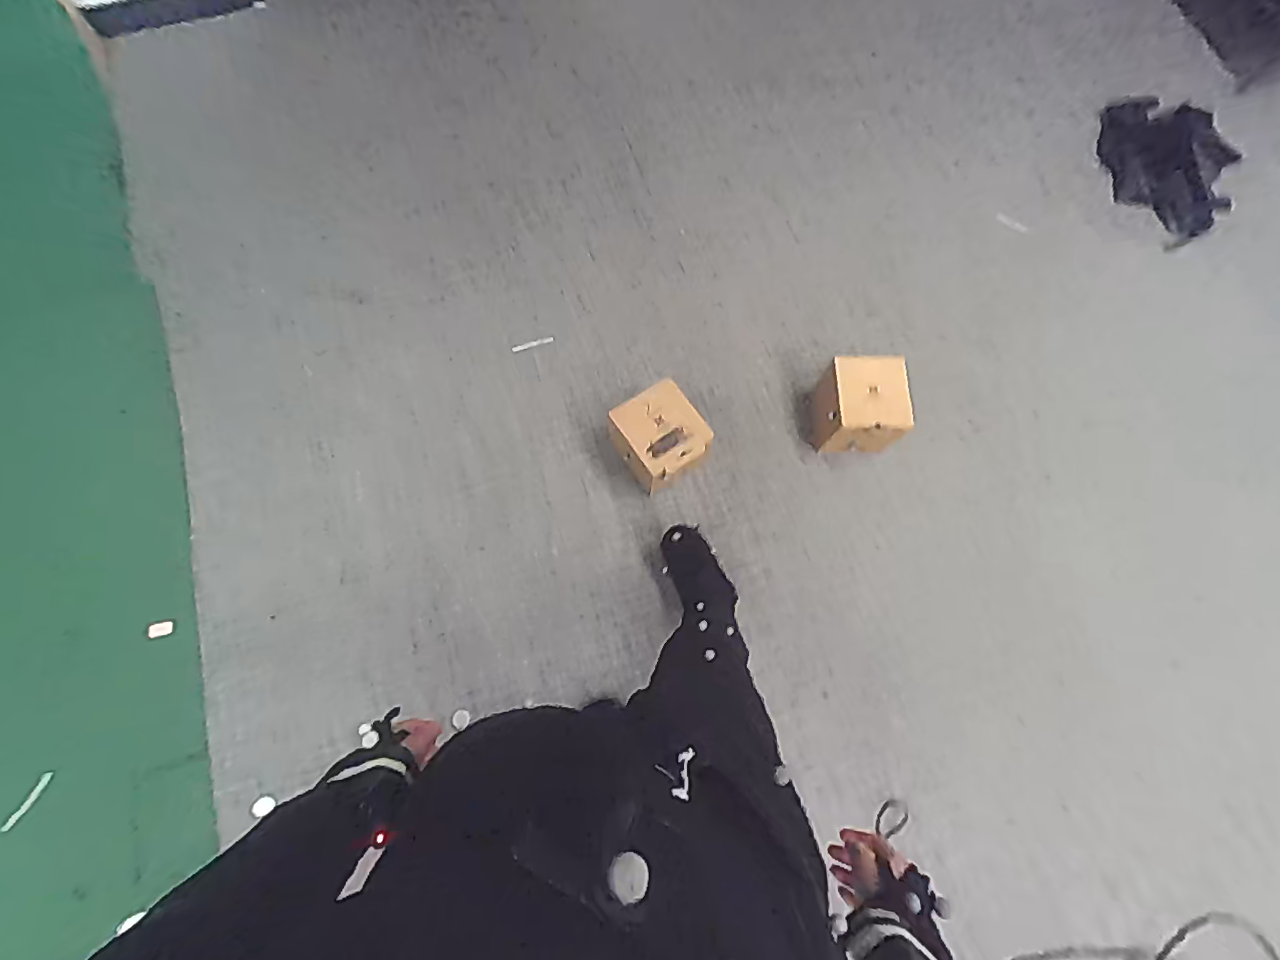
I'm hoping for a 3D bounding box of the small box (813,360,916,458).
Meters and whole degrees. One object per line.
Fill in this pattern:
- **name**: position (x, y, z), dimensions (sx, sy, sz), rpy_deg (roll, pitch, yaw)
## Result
- **small box**: position (0.521, -0.165, 1.284), dimensions (0.168, 0.176, 0.179), rpy_deg (0, 73, -2)
